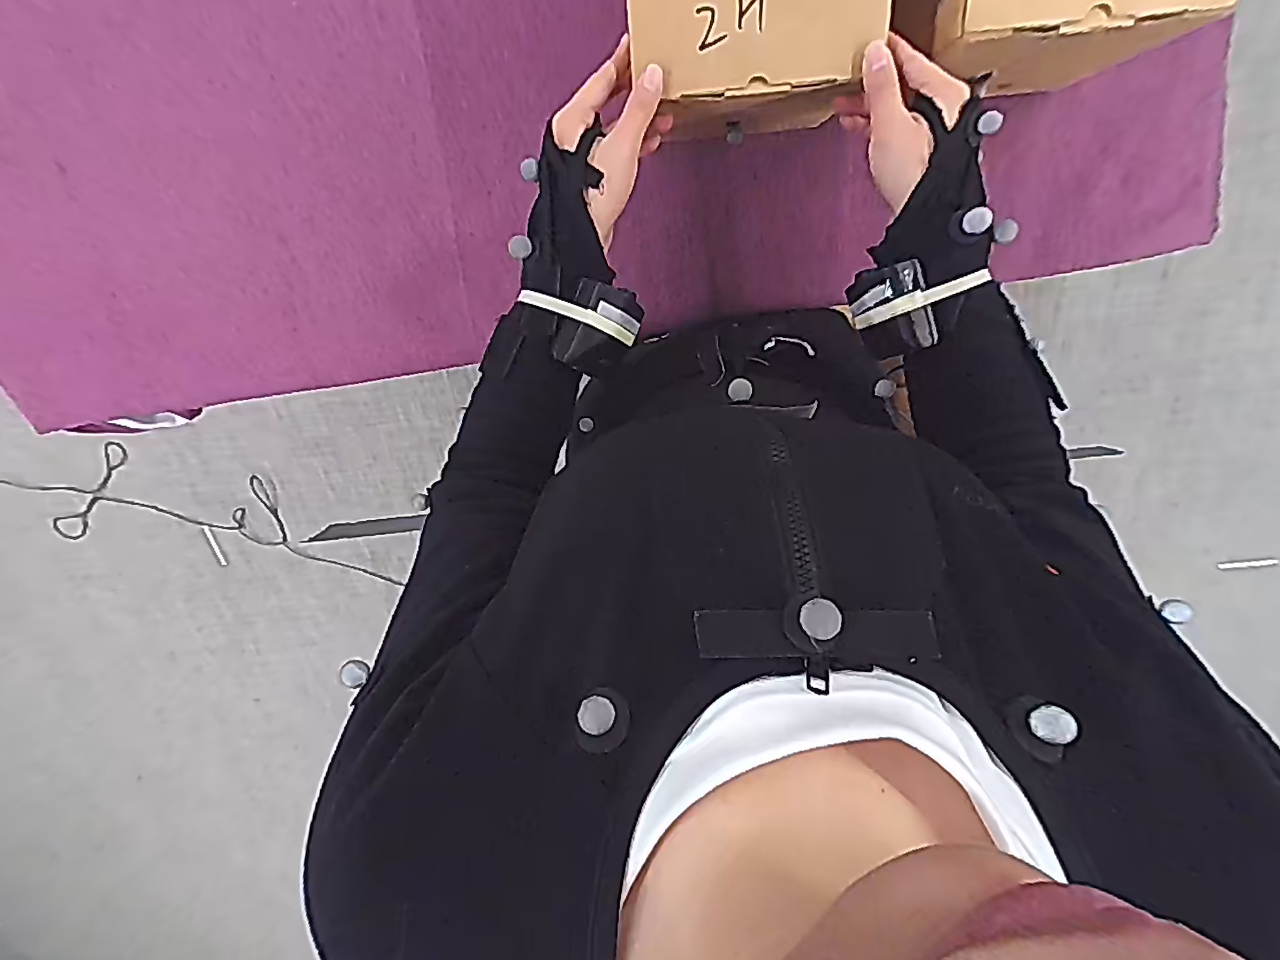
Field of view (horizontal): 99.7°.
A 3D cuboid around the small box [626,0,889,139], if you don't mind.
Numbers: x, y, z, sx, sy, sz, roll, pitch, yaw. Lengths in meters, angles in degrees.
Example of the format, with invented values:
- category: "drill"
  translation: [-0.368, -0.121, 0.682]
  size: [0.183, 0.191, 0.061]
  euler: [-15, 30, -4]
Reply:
- category: "small box"
  translation: [0.072, -0.370, 0.394]
  size: [0.168, 0.176, 0.179]
  euler: [-3, 114, 3]

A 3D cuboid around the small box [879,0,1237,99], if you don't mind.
- category: "small box"
  translation: [0.280, -0.396, 0.375]
  size: [0.168, 0.176, 0.179]
  euler: [-3, 113, 5]
